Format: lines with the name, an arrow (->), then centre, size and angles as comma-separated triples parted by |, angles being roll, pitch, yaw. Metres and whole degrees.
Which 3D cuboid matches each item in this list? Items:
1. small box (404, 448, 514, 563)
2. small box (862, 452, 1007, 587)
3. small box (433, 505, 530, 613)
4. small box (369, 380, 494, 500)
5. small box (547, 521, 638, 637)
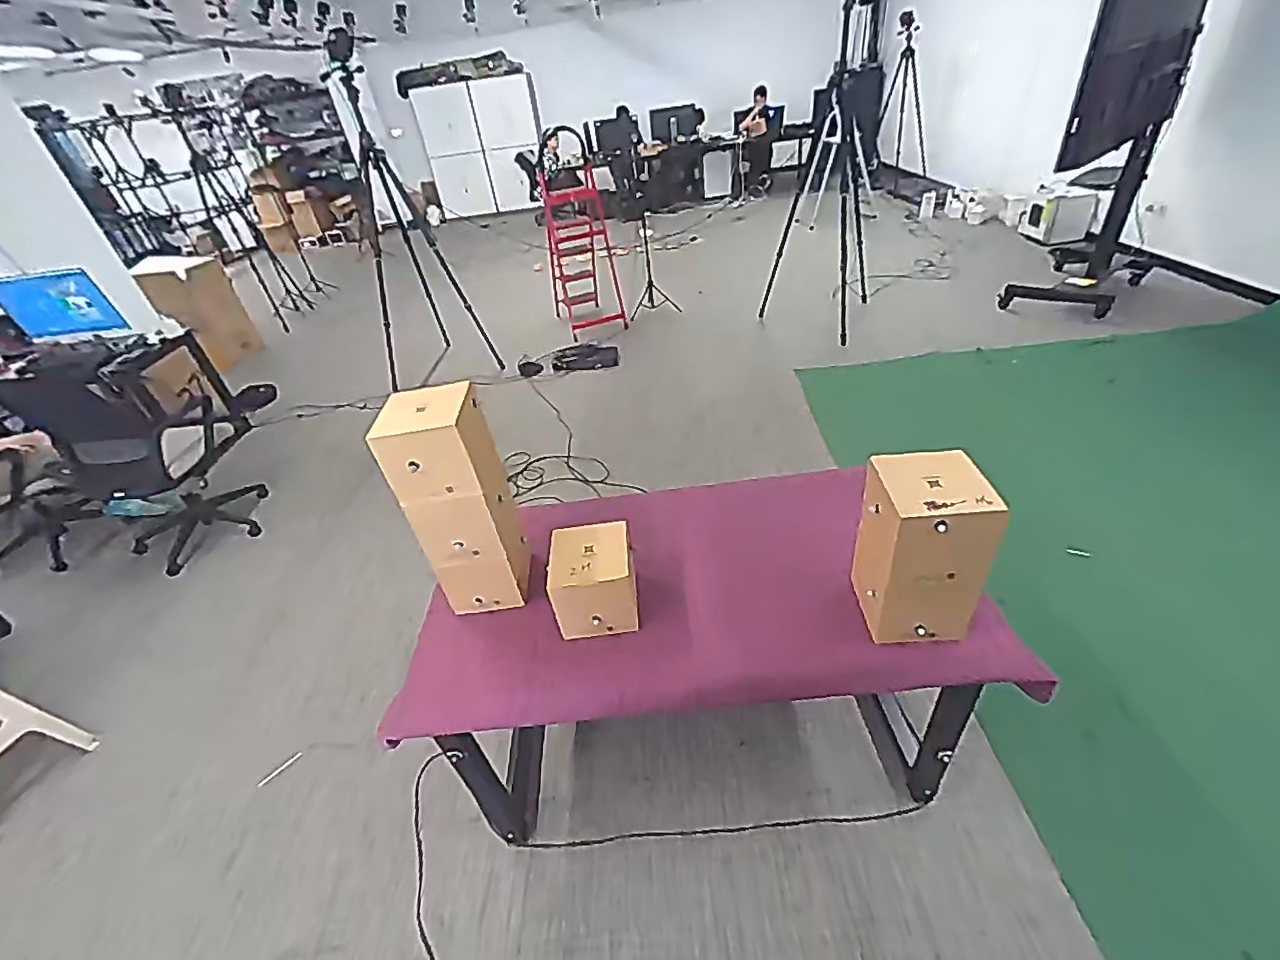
small box -> -0.379, 0.055, 1.172 | 0.168, 0.176, 0.179 | -9, 37, 1
small box -> 0.510, 0.070, 0.968 | 0.168, 0.176, 0.179 | -5, 36, 7
small box -> -0.360, 0.185, 1.269 | 0.168, 0.176, 0.179 | -8, 38, 1
small box -> -0.400, -0.073, 1.075 | 0.168, 0.176, 0.179 | -9, 37, 1
small box -> -0.097, 0.214, 1.177 | 0.168, 0.176, 0.179 | -8, 37, 2
